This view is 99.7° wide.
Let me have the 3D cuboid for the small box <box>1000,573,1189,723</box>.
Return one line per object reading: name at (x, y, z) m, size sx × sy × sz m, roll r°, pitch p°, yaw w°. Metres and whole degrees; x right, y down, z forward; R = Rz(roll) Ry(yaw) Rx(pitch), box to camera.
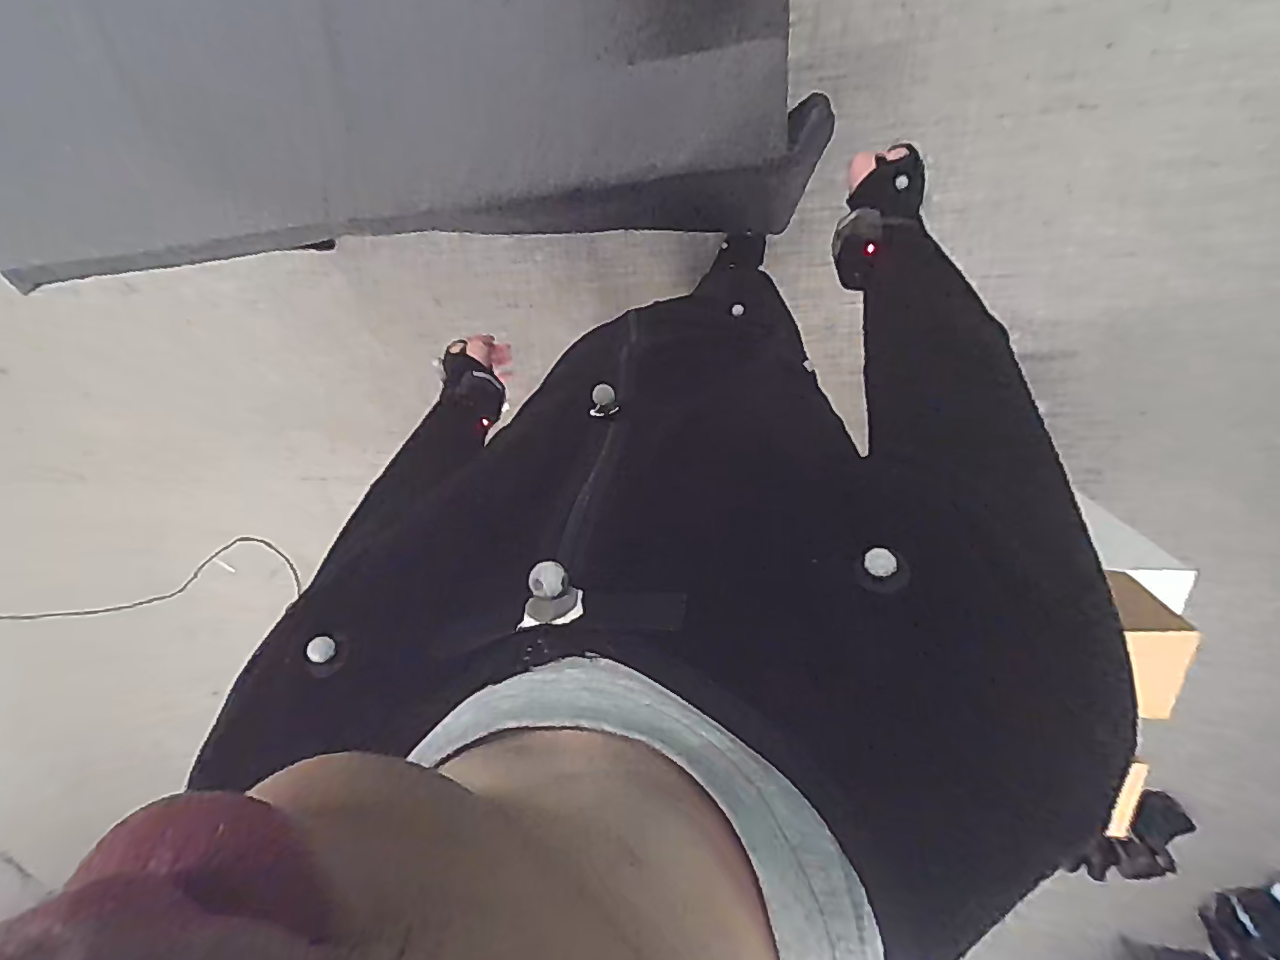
small box at (0.735, 0.275, 0.902) m, size 0.168 × 0.176 × 0.179 m, roll -4°, pitch 112°, yaw 7°
